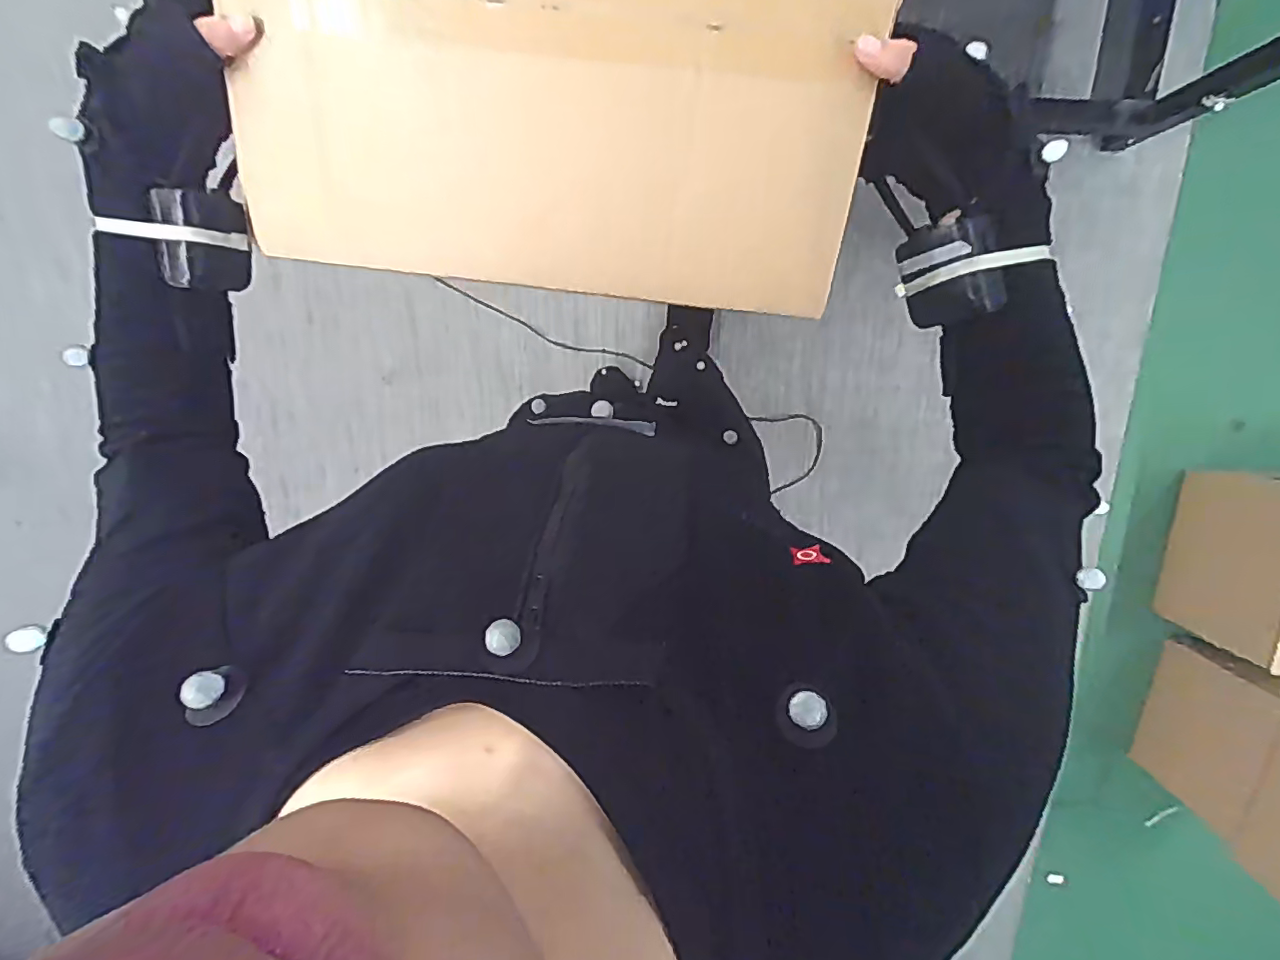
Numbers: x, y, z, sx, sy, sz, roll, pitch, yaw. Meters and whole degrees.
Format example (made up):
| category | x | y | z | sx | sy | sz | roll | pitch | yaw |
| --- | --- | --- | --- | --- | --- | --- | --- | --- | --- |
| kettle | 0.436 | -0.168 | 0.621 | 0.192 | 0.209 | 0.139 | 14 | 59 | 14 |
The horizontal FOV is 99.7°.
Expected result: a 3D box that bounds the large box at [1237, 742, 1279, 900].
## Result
| category | x | y | z | sx | sy | sz | roll | pitch | yaw |
| --- | --- | --- | --- | --- | --- | --- | --- | --- | --- |
| large box | 1.588 | 0.773 | 1.113 | 0.320 | 0.320 | 0.408 | 4 | 104 | 3 |
